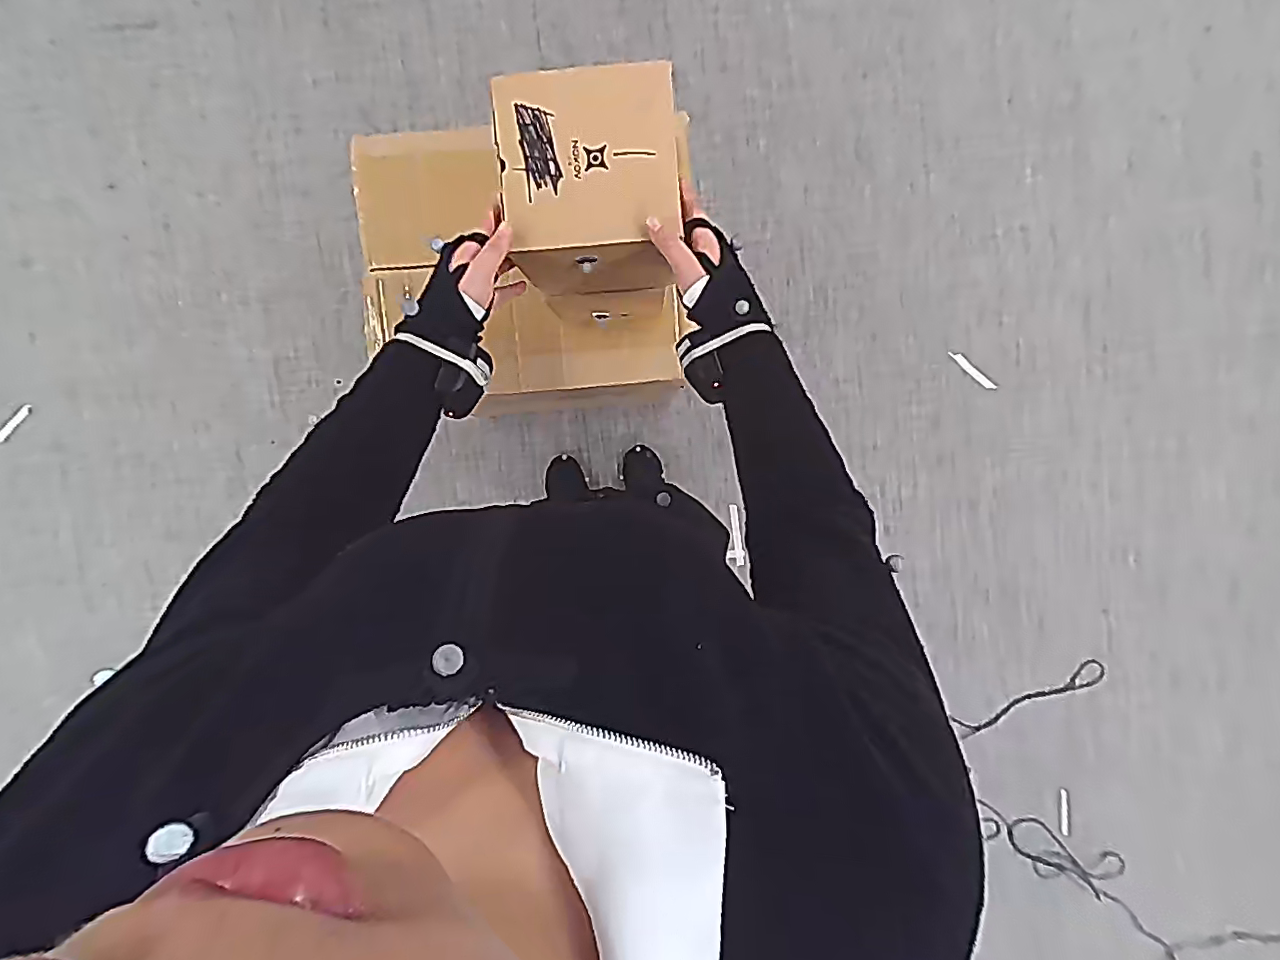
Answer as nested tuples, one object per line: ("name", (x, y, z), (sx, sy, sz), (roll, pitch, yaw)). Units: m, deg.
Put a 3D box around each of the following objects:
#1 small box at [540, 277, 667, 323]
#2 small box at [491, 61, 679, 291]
("small box", (-0.051, -0.333, 0.768), (0.168, 0.176, 0.179), (-4, 96, 2))
("small box", (-0.050, -0.319, 0.604), (0.179, 0.176, 0.168), (-4, 95, 1))
